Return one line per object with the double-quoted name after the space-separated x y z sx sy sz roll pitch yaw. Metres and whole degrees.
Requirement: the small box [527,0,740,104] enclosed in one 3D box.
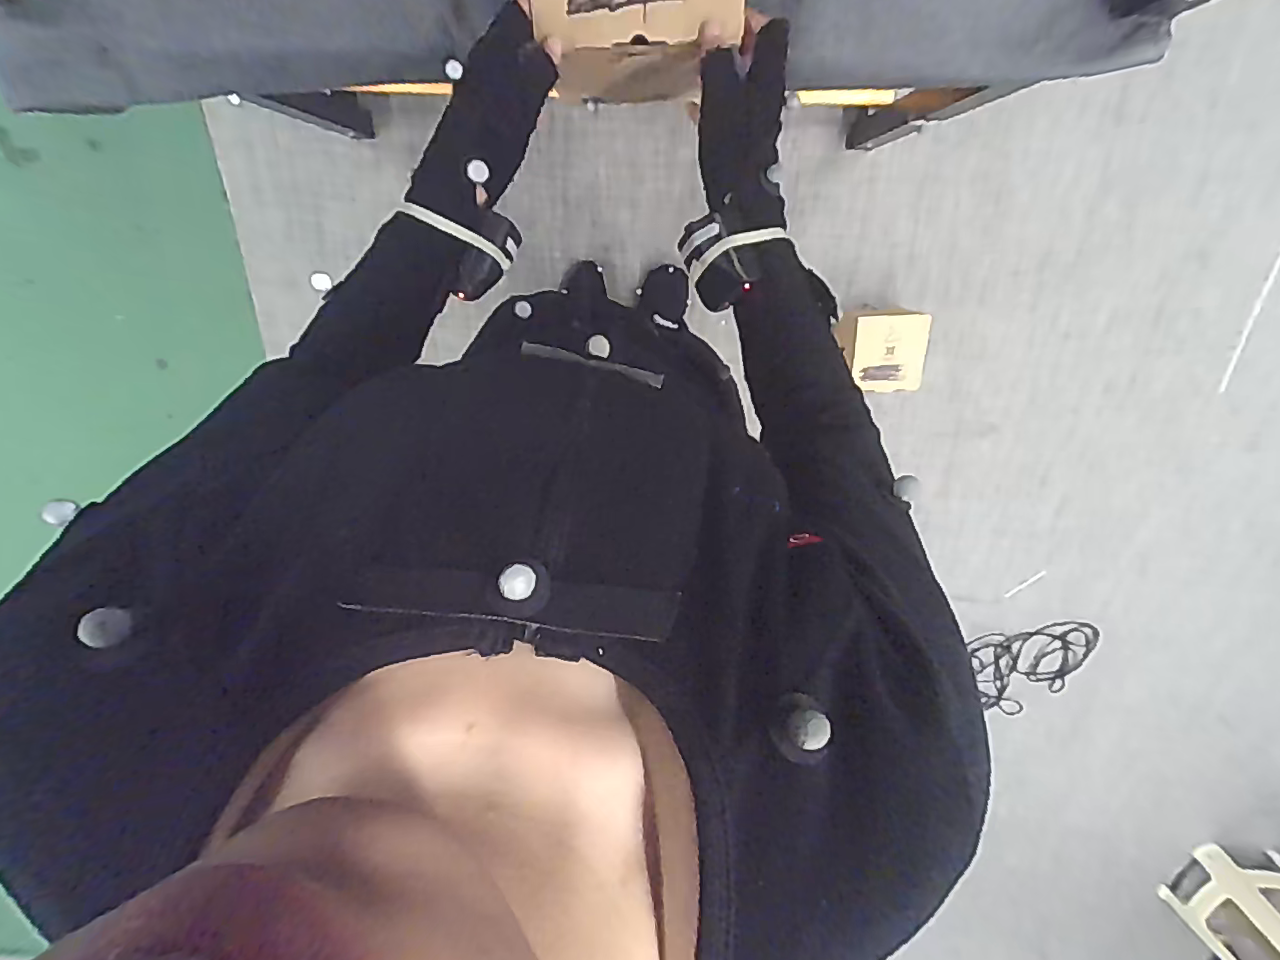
-0.004 -0.442 0.464 0.168 0.176 0.179 -2 112 1 "small box"
